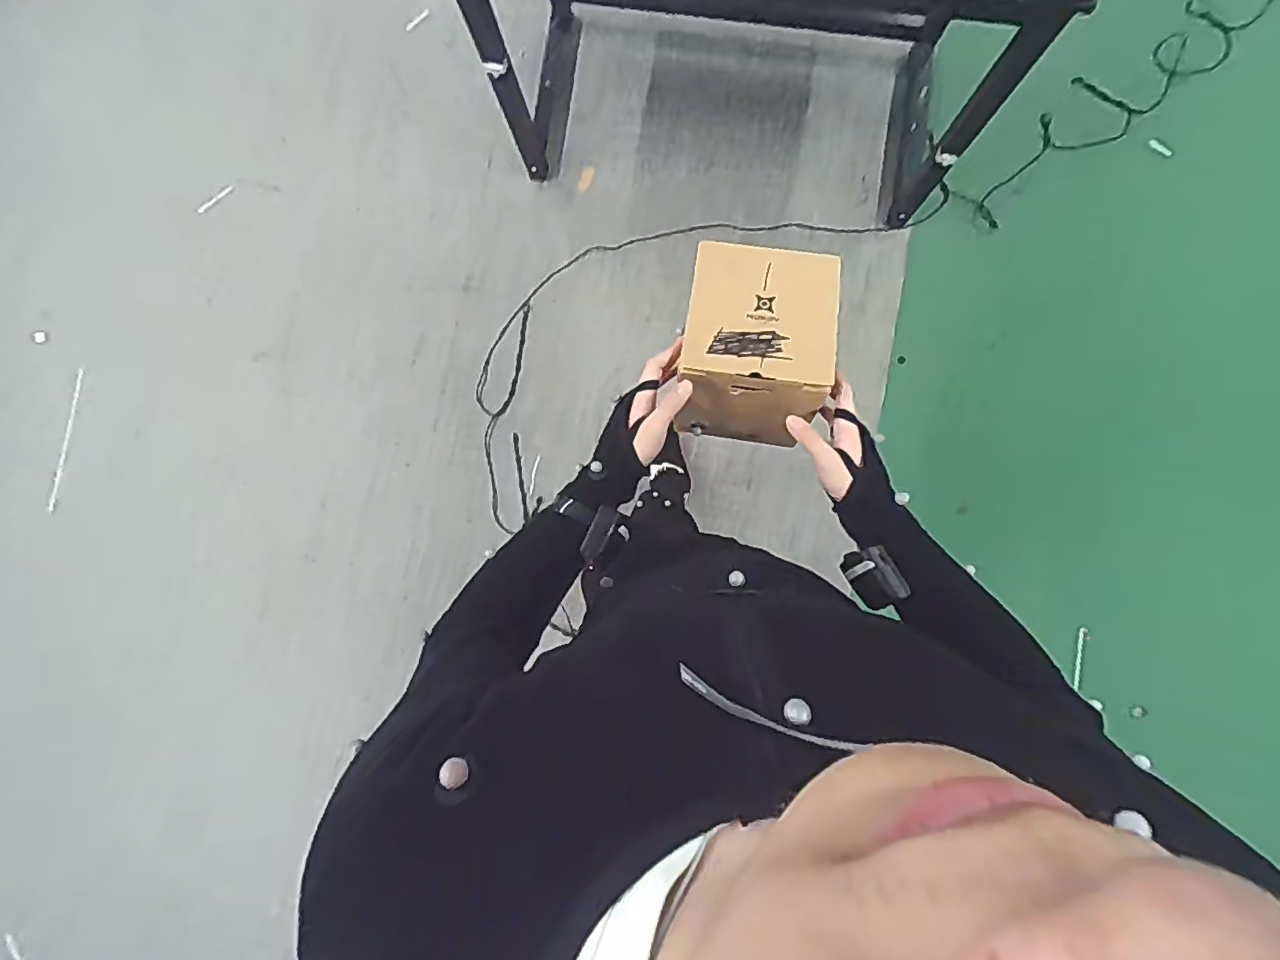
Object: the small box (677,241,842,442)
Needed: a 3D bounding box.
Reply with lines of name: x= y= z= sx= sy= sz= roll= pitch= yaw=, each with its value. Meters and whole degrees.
small box: x=0.140 y=-0.163 z=0.677 sx=0.168 sy=0.176 sz=0.179 roll=9 pitch=72 yaw=6
